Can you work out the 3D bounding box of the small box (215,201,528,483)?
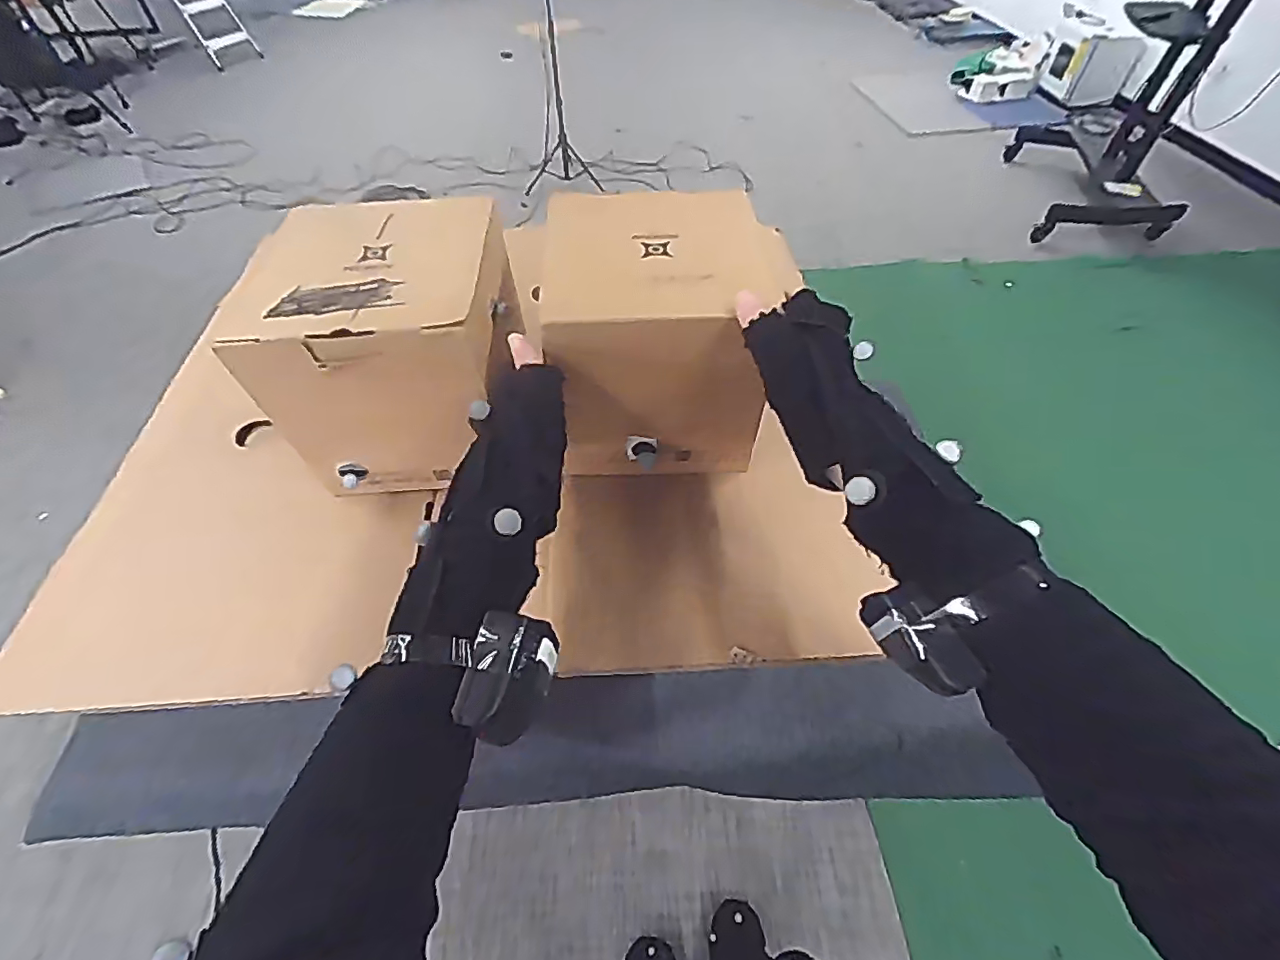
[{"bbox_3d":[-0.196,-0.109,0.463,0.168,0.176,0.179,-4,52,-1],"label":"small box"}]
